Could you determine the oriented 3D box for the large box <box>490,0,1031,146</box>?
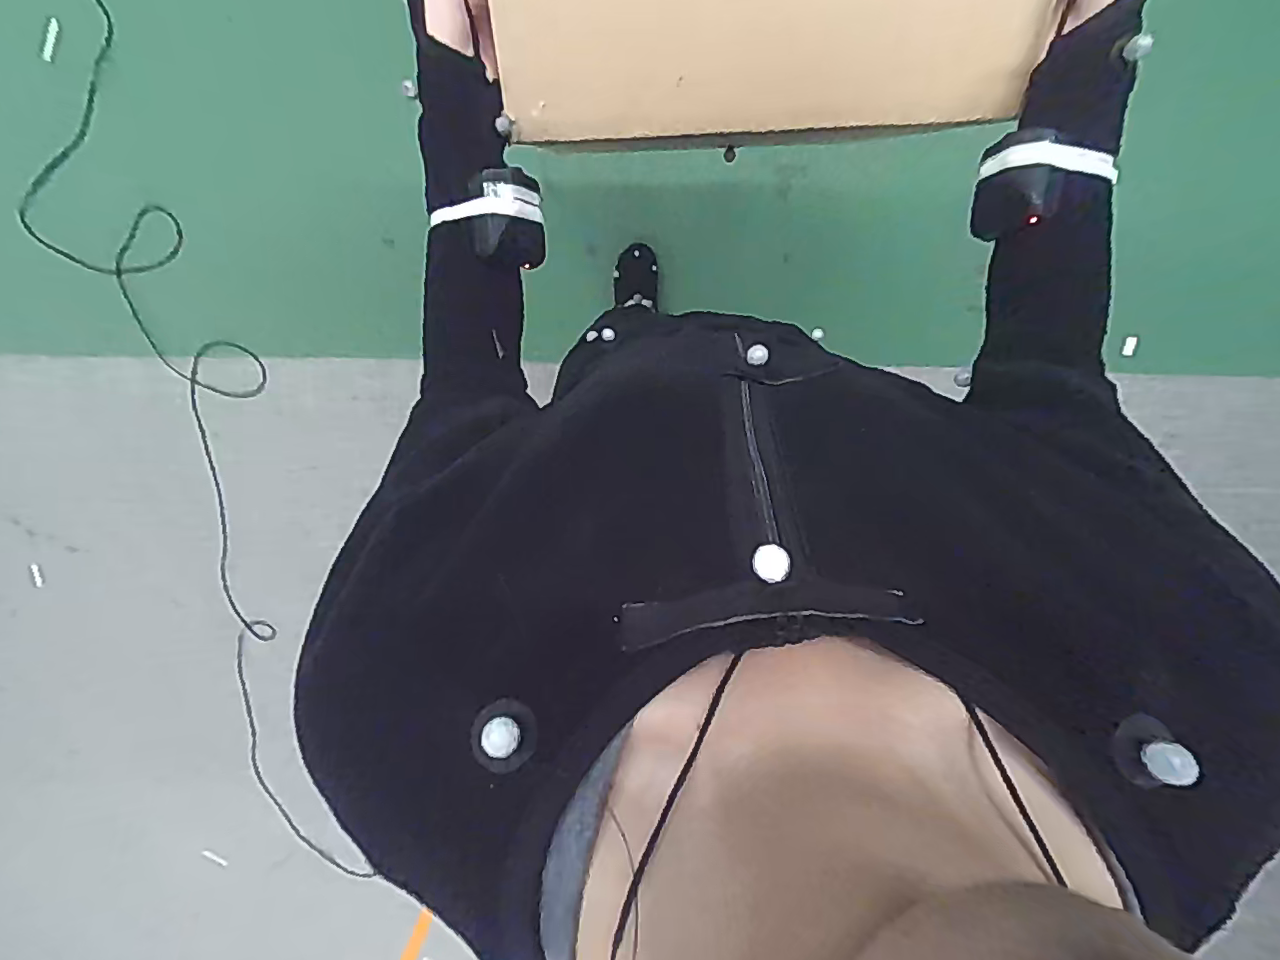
[{"bbox_3d":[0.086,-0.493,0.484,0.408,0.320,0.320,-2,119,1],"label":"large box"}]
